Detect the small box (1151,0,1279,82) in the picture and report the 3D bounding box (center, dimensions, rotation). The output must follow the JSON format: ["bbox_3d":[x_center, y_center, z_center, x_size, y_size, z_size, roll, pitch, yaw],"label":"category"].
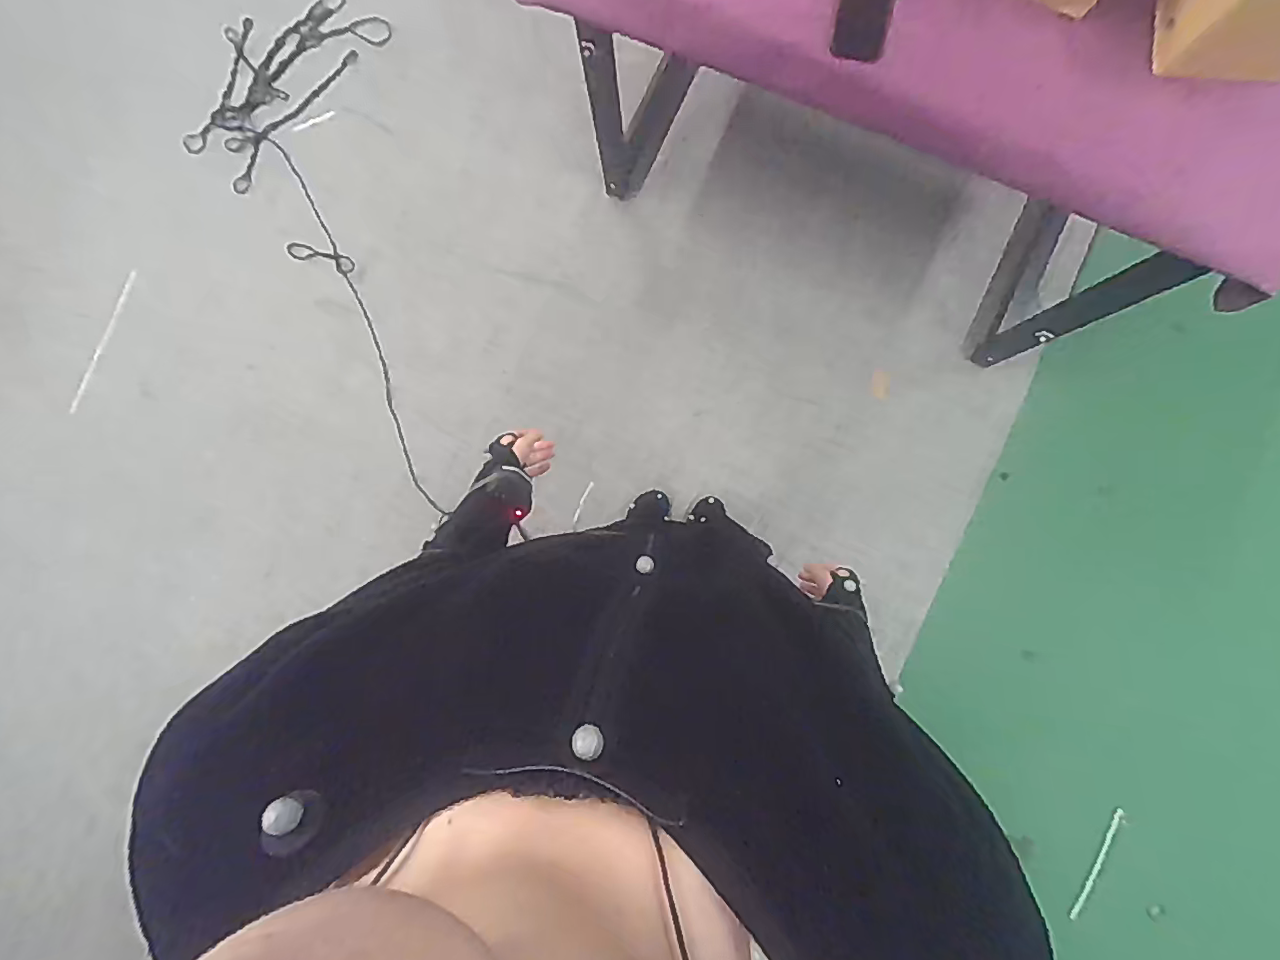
[{"bbox_3d":[0.832,-0.666,0.711,0.179,0.176,0.168,5,87,3],"label":"small box"}]
